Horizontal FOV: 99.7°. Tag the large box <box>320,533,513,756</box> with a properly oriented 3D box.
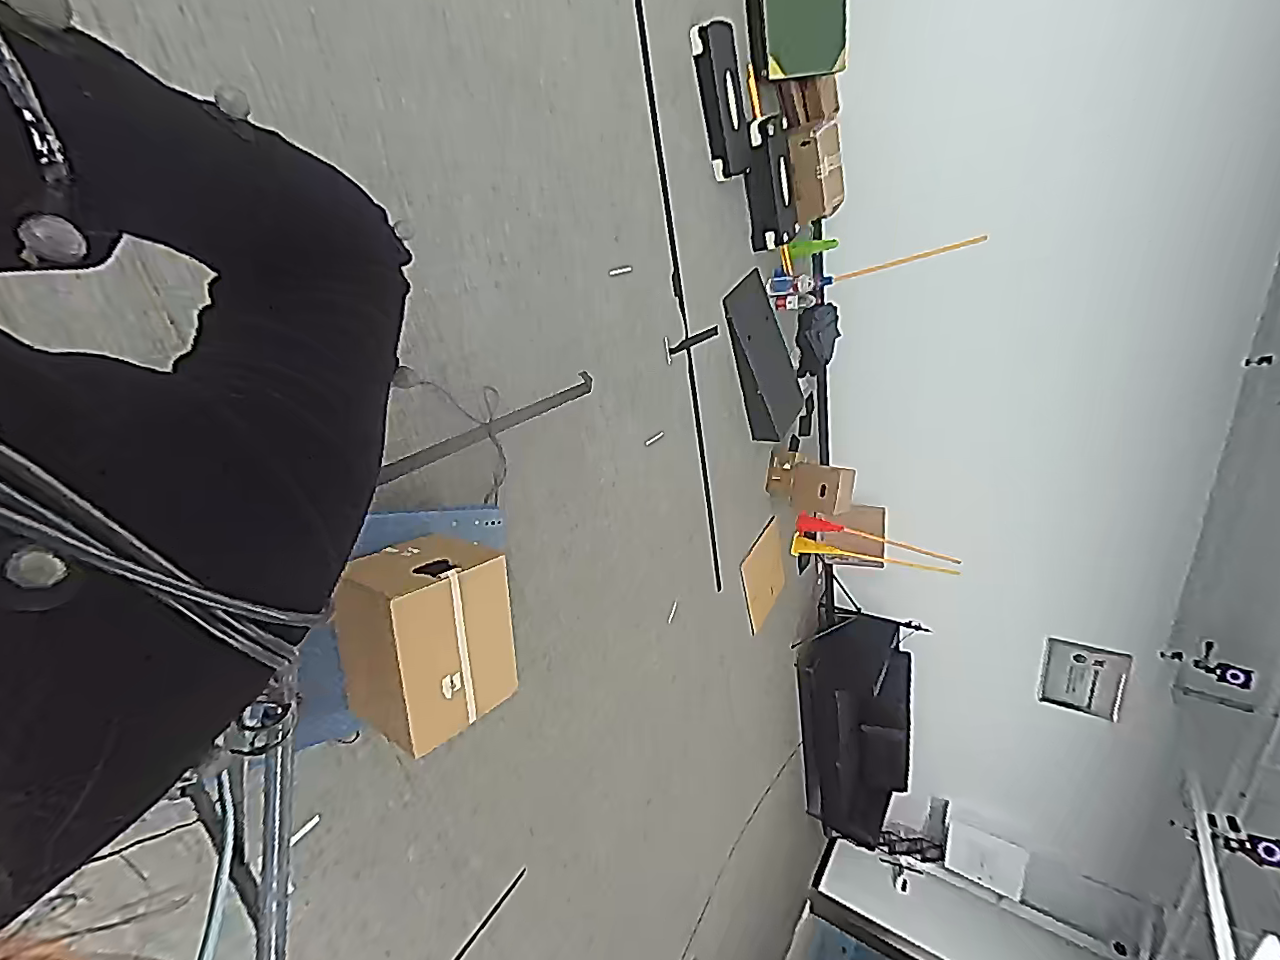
[{"bbox_3d":[-0.560,0.389,1.381,0.320,0.320,0.408,-19,113,-51],"label":"large box"}]
